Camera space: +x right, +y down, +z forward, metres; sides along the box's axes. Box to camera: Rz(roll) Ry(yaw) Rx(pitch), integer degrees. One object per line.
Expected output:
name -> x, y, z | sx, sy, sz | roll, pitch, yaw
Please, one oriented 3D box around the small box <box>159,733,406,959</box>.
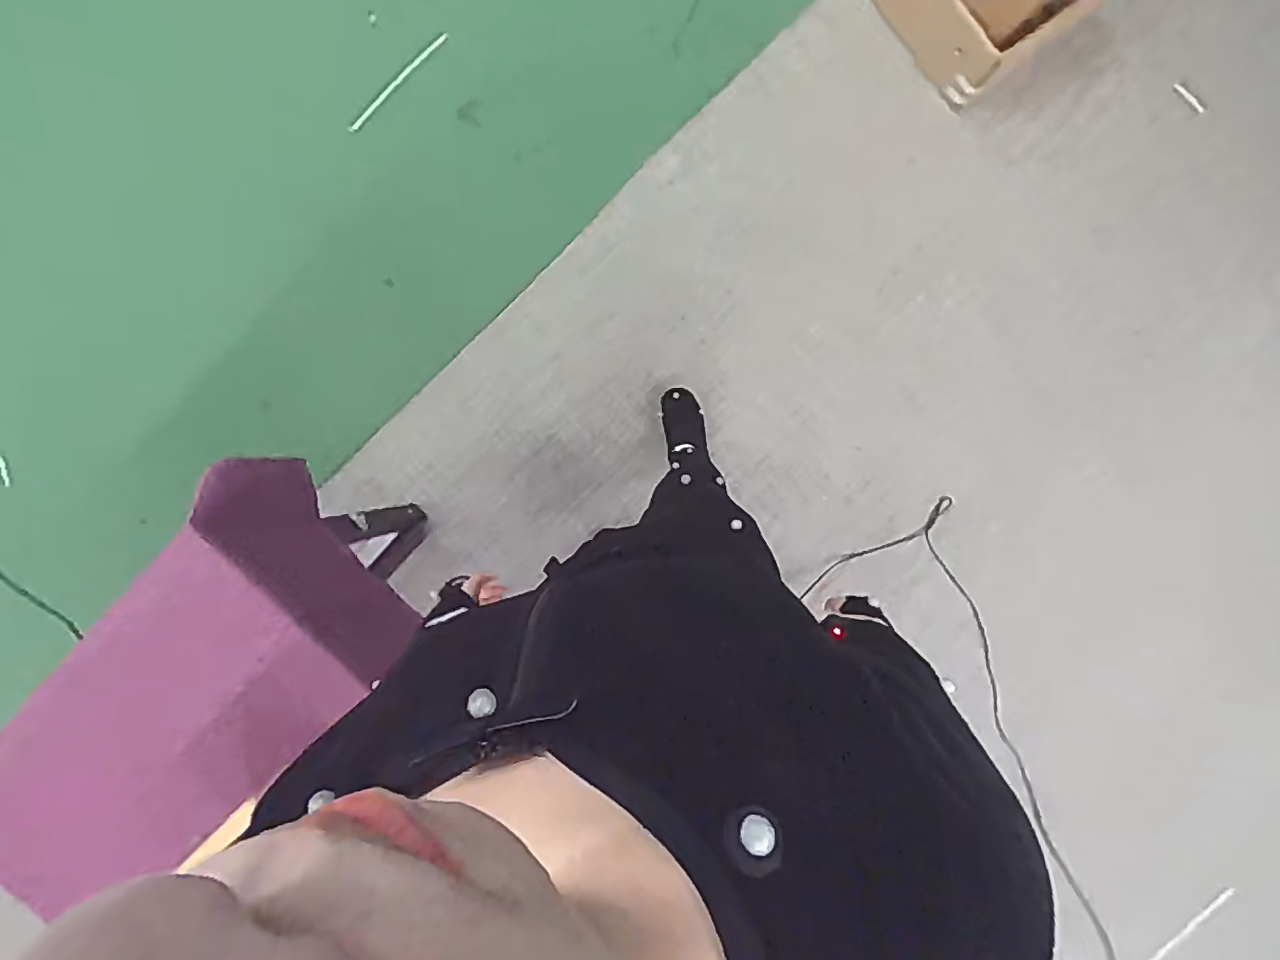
small box -> -0.452, 0.484, 0.716 | 0.179, 0.176, 0.168 | -44, 91, 2
